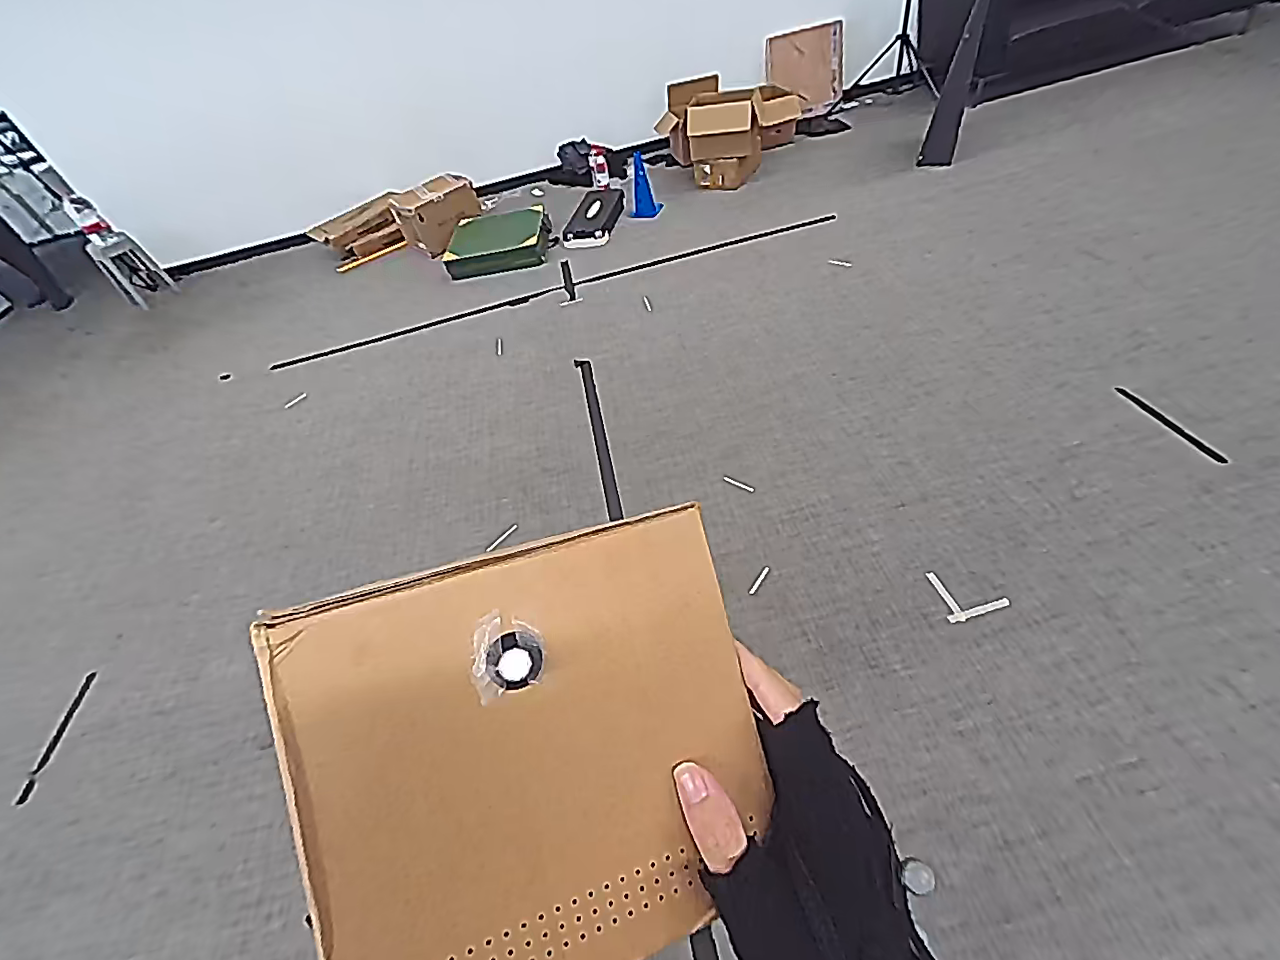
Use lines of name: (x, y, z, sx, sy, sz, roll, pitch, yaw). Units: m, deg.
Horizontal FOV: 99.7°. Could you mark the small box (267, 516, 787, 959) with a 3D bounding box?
small box: (-0.052, 0.126, 0.285, 0.179, 0.168, 0.176, -13, 87, -17)
